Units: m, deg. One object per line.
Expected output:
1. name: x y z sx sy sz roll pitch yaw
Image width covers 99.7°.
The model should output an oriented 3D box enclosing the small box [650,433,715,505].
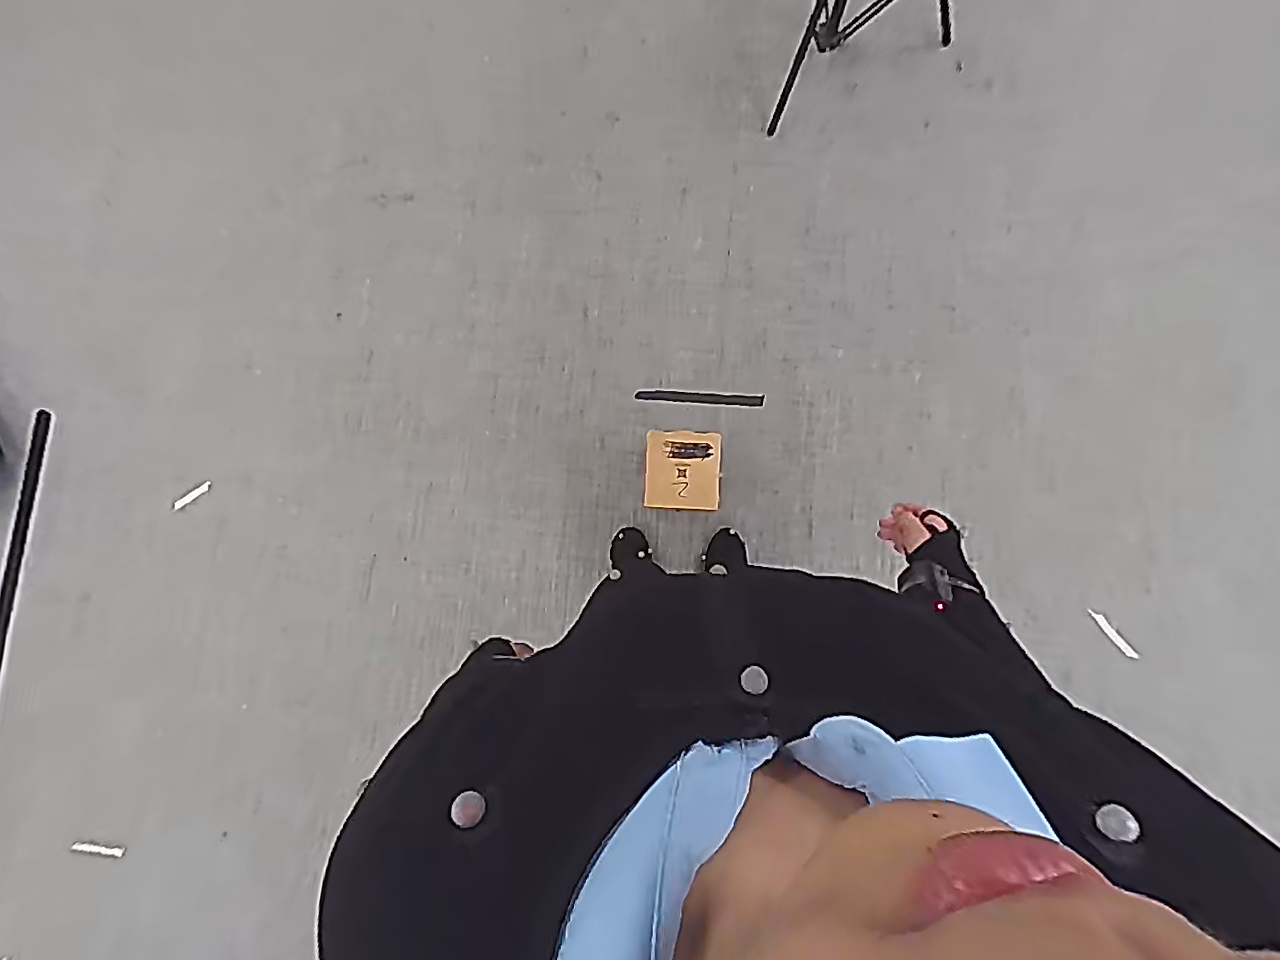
1. small box: 0.110 -0.025 1.440 0.168 0.176 0.179 0 85 4
